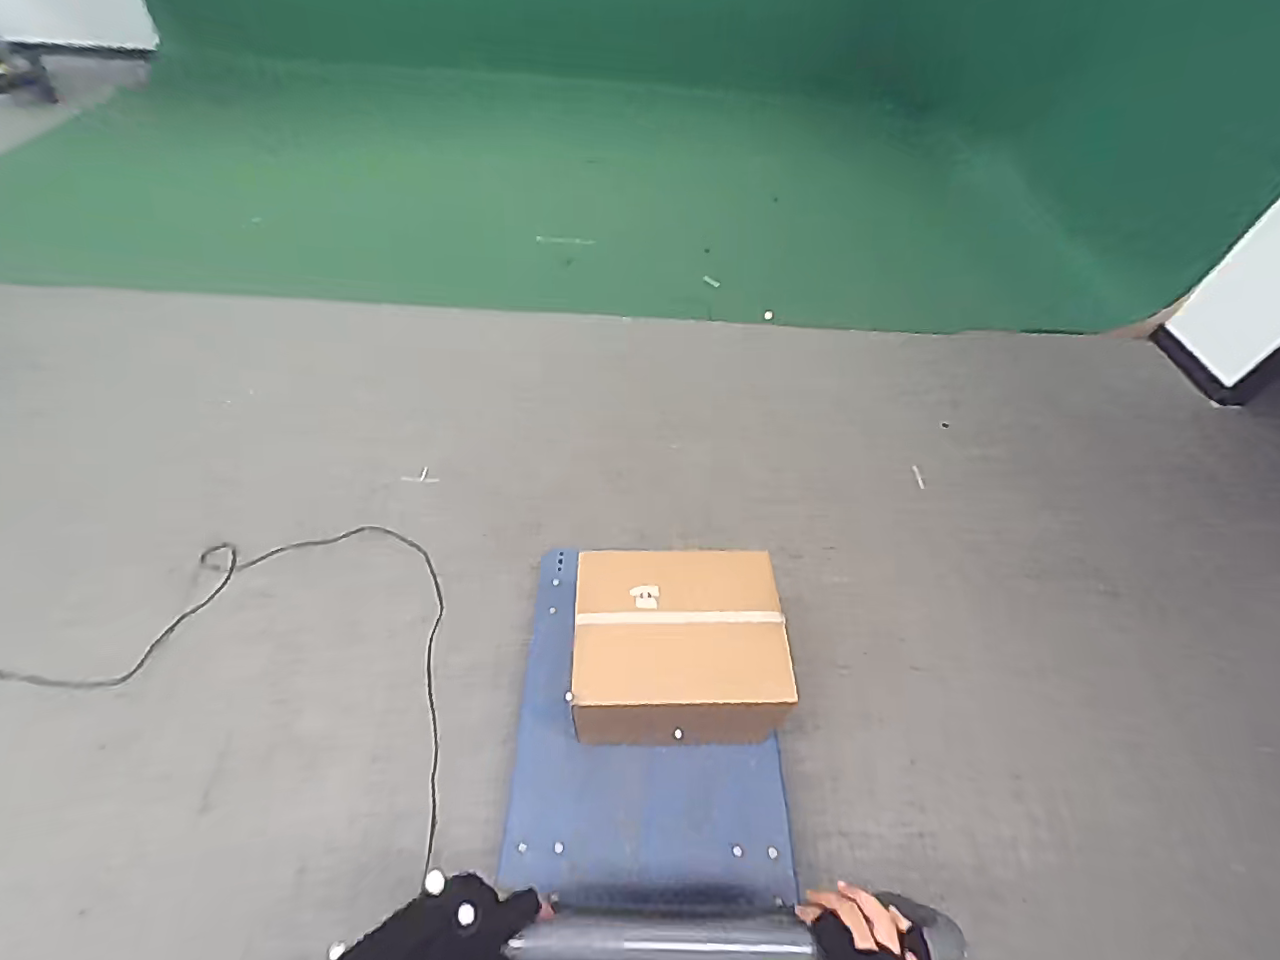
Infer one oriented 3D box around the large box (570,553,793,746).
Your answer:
[{"bbox_3d":[0.069,0.369,1.160,0.408,0.320,0.320,0,51,-2],"label":"large box"}]
